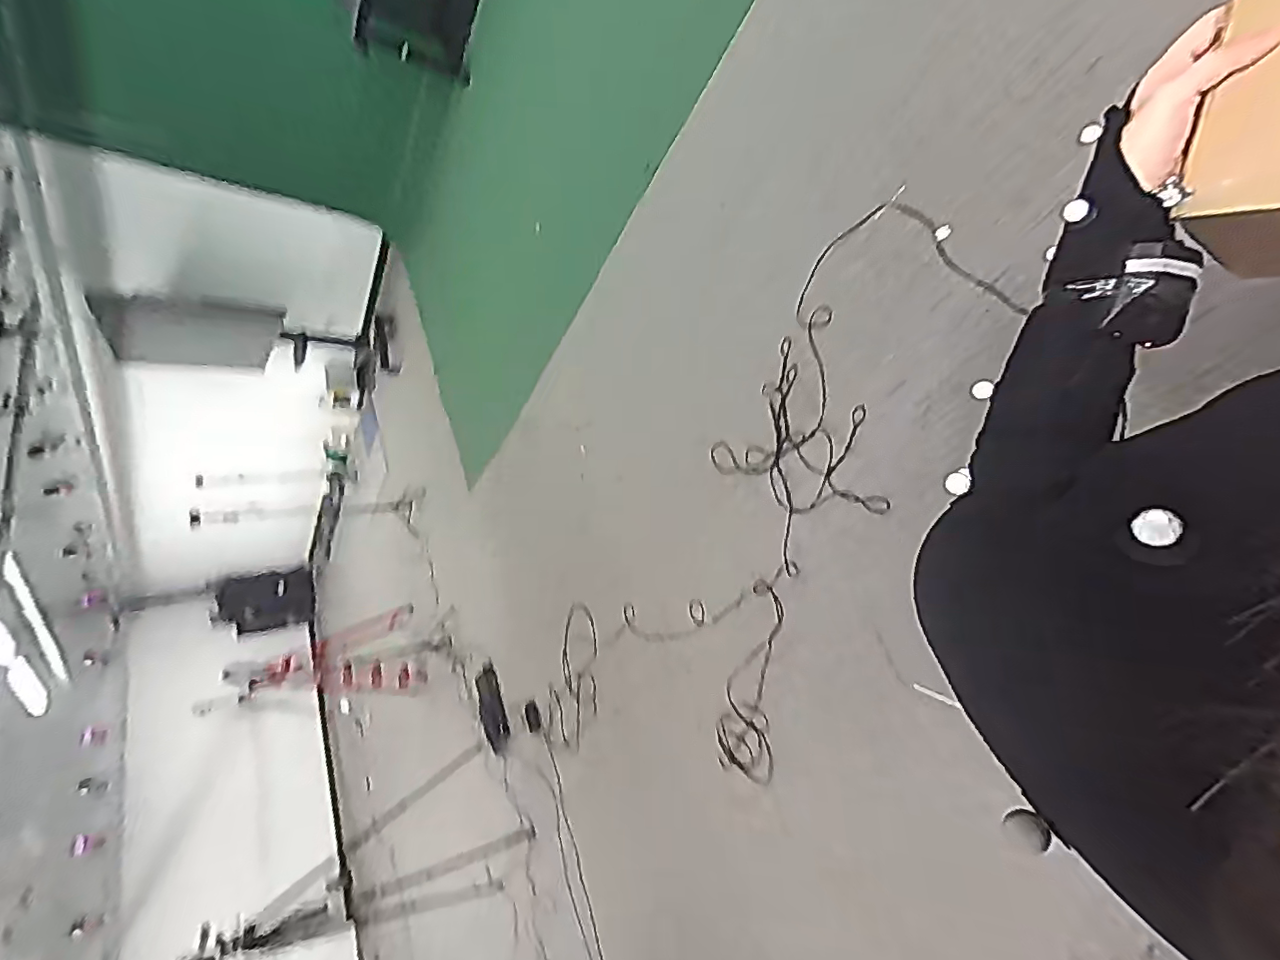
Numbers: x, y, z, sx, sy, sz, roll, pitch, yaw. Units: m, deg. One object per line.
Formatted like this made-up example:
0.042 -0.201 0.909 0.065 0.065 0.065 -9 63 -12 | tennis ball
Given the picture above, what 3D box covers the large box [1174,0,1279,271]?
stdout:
0.644 -0.313 0.302 0.408 0.320 0.320 20 110 52 | large box
